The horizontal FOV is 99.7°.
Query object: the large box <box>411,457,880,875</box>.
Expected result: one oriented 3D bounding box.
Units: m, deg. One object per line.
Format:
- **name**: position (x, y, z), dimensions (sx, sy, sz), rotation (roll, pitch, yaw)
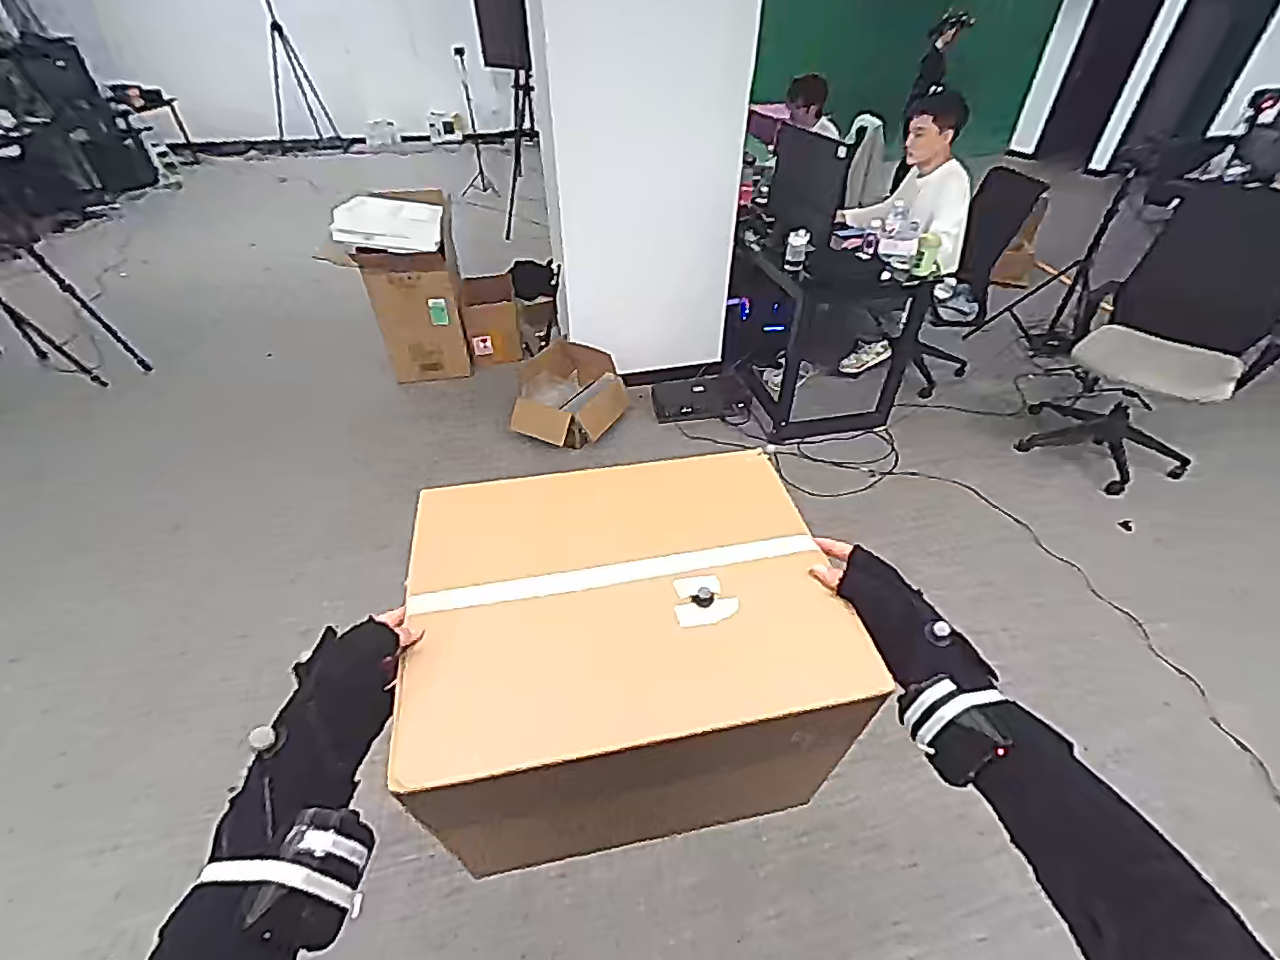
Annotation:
- **large box**: position (-0.017, 0.209, 0.643), dimensions (0.408, 0.320, 0.320), rotation (-8, 45, -10)
